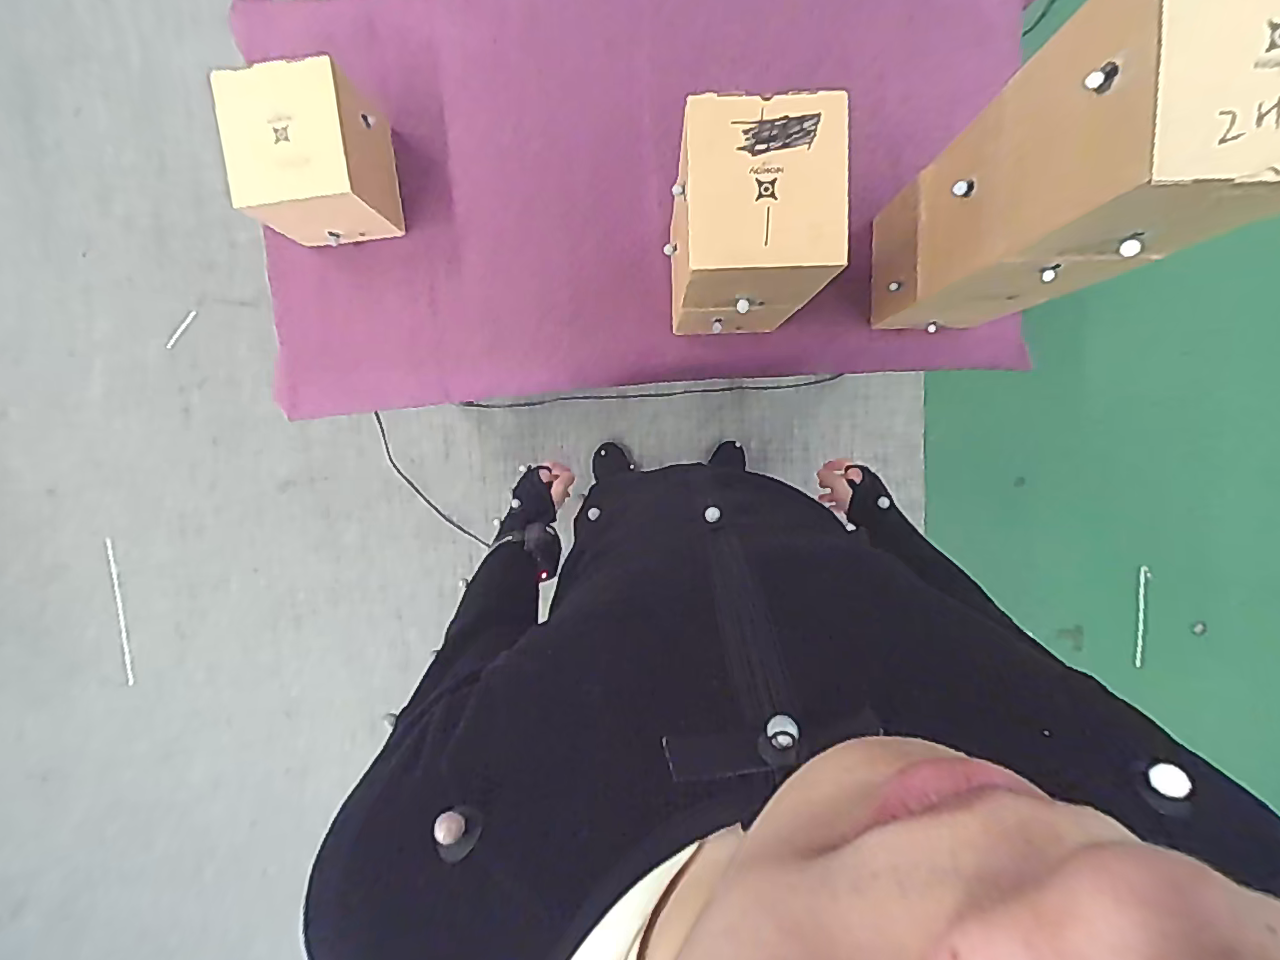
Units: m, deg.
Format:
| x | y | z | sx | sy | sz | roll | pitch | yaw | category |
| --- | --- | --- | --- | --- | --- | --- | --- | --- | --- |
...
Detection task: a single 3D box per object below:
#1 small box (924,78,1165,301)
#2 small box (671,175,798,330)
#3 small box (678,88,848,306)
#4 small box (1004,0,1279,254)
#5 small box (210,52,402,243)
| x | y | z | sx | sy | sz | roll | pitch | yaw | category |
| --- | --- | --- | --- | --- | --- | --- | --- | --- | --- |
| 0.447 | -0.317 | 0.619 | 0.168 | 0.176 | 0.179 | 0 | 94 | 3 | small box |
| 0.132 | -0.322 | 0.794 | 0.168 | 0.176 | 0.179 | -1 | 94 | 2 | small box |
| 0.130 | -0.312 | 0.629 | 0.168 | 0.176 | 0.179 | -1 | 94 | 2 | small box |
| 0.441 | -0.307 | 0.454 | 0.168 | 0.176 | 0.179 | 0 | 95 | 2 | small box |
| -0.473 | -0.471 | 0.792 | 0.168 | 0.176 | 0.179 | -6 | 96 | 2 | small box |
